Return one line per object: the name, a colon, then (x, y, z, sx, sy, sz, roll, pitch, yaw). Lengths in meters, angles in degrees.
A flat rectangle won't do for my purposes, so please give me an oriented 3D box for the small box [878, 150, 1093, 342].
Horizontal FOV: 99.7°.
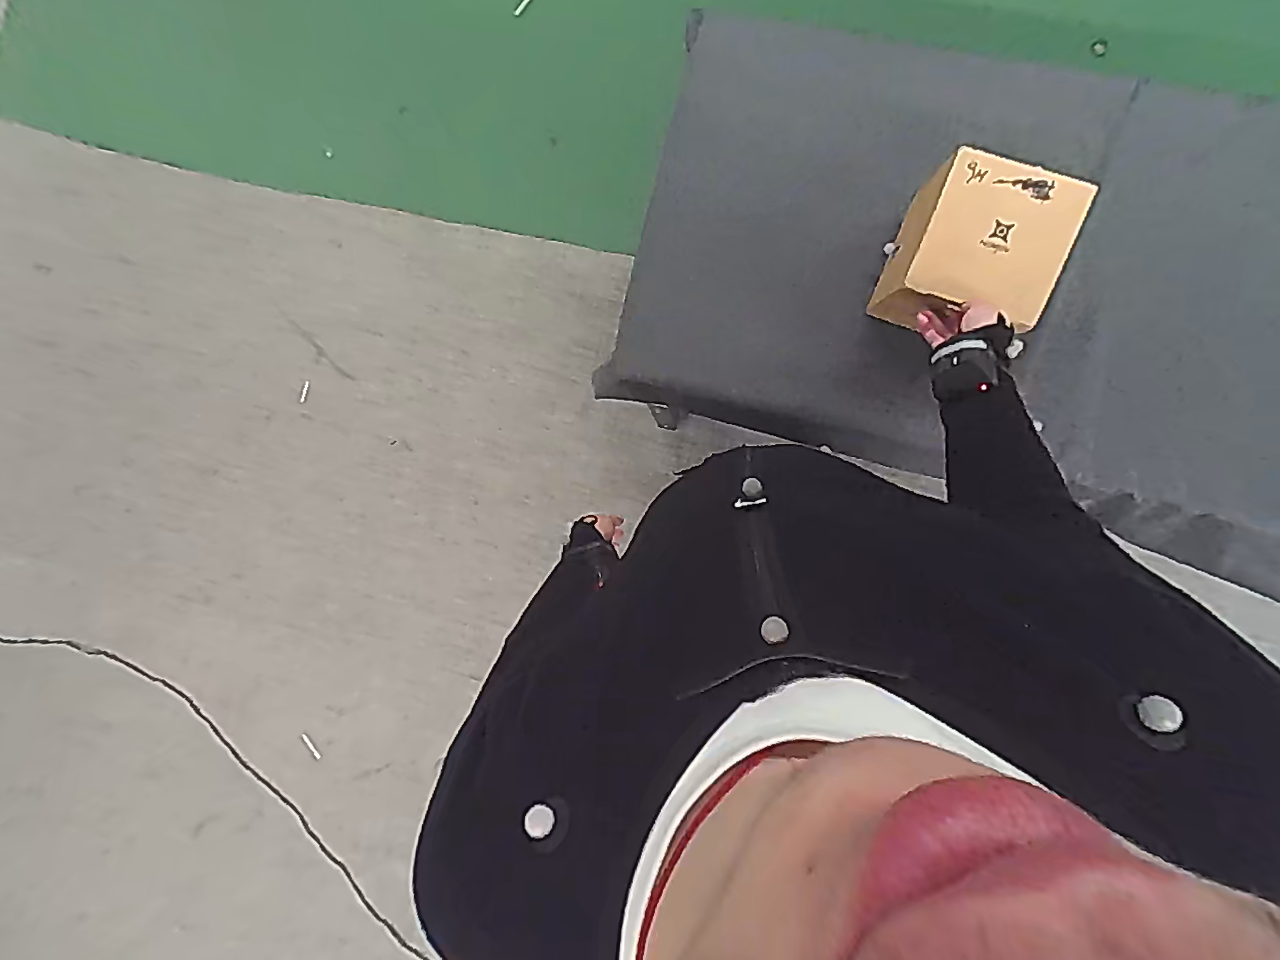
small box: (0.444, -0.300, 0.733, 0.168, 0.176, 0.179, 19, 98, 7)
